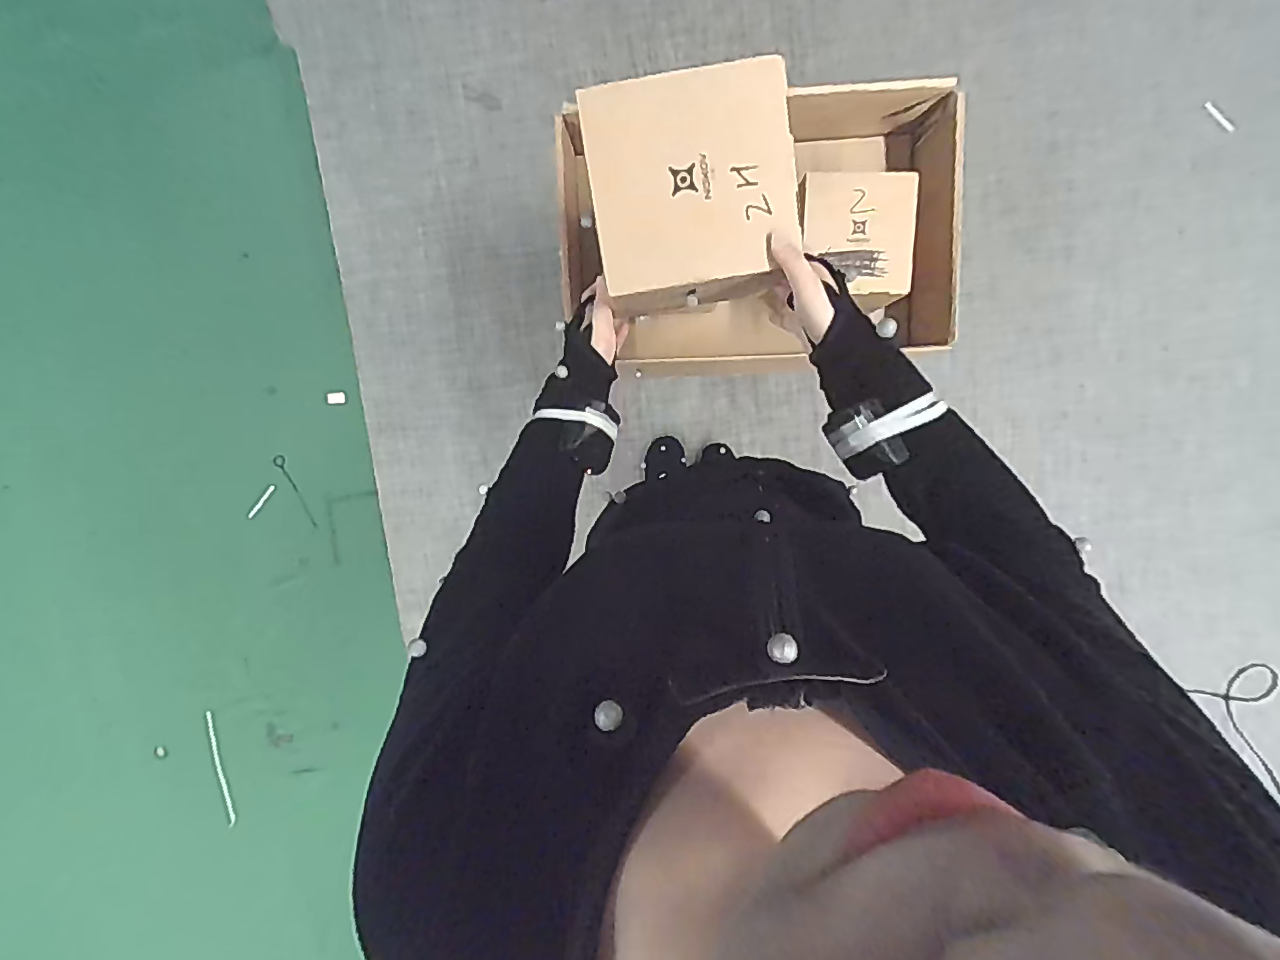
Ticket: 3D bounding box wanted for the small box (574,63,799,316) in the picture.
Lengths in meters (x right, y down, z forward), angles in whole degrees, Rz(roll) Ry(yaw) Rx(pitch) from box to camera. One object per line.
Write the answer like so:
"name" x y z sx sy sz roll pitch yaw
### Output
"small box" 0.041 -0.264 0.535 0.179 0.176 0.168 -9 101 0
